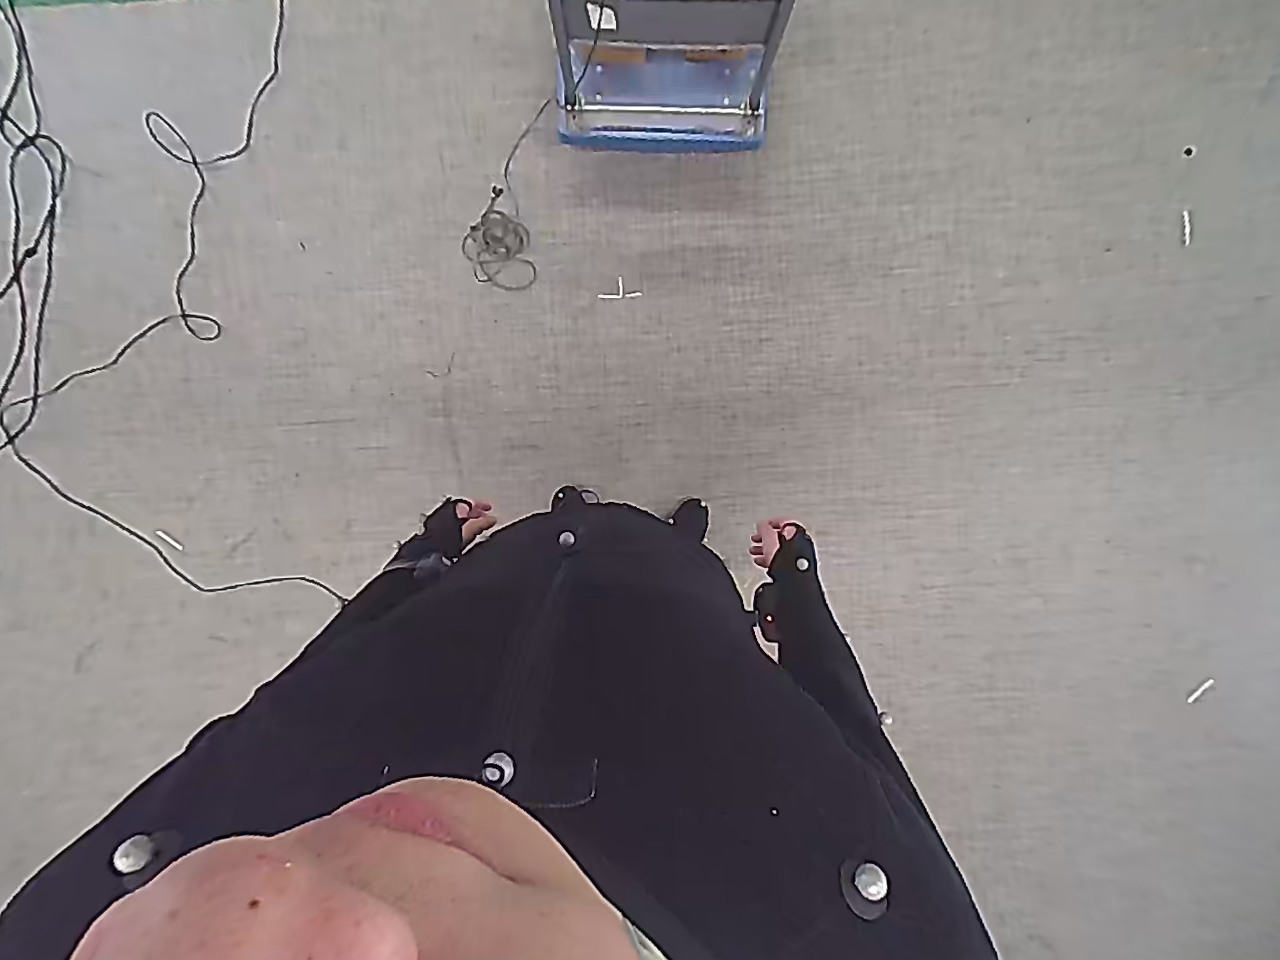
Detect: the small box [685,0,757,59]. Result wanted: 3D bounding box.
[{"bbox_3d":[0.206,-1.238,1.391,0.168,0.176,0.179,3,91,0],"label":"small box"}]
